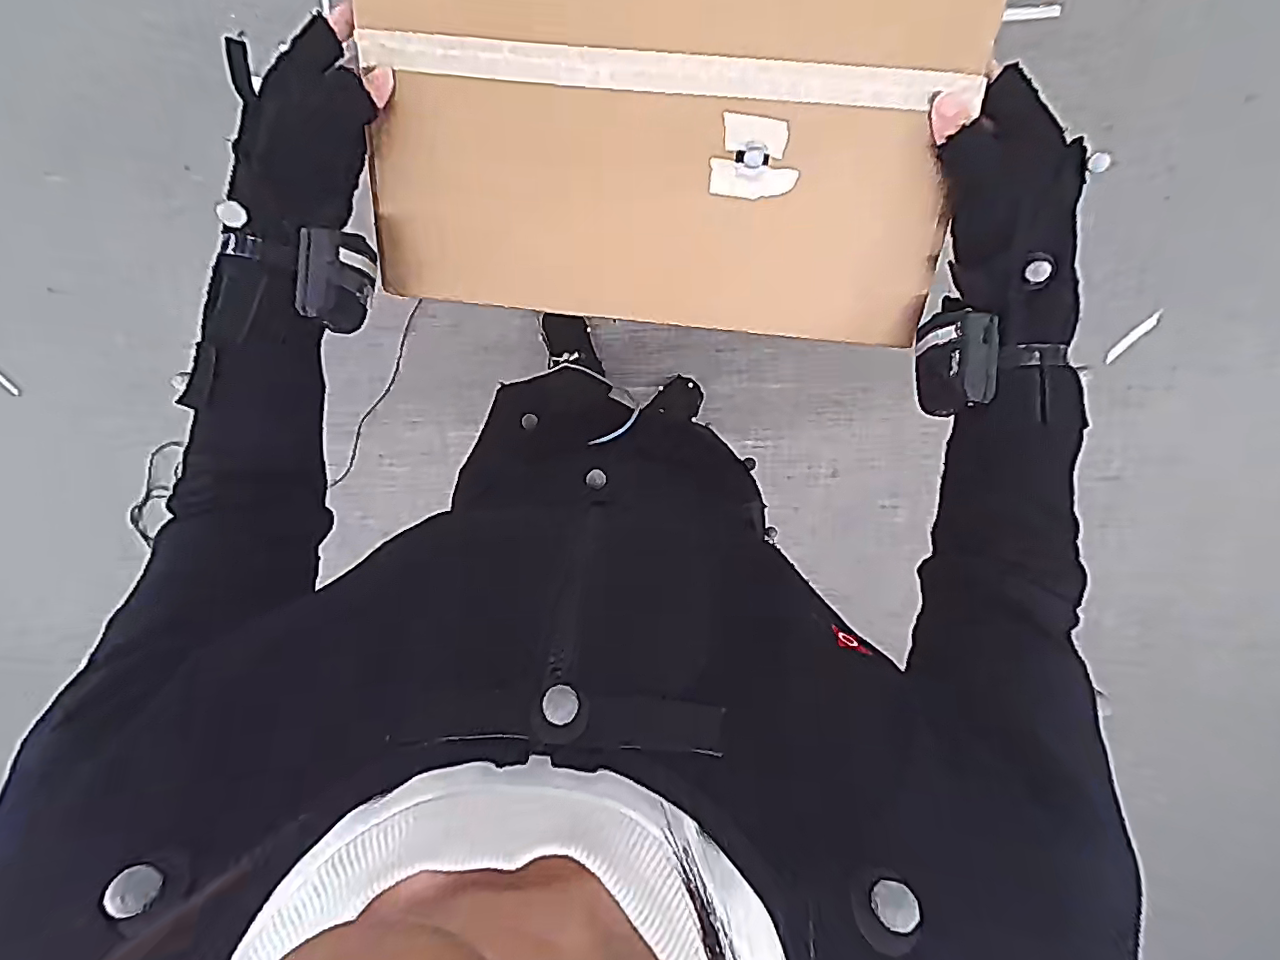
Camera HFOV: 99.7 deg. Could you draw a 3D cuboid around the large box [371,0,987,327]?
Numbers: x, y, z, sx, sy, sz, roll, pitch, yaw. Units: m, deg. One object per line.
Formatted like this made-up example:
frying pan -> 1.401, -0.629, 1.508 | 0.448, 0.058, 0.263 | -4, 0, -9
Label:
large box -> 0.025, -0.329, 0.500 | 0.408, 0.320, 0.320 | 6, 114, 3
